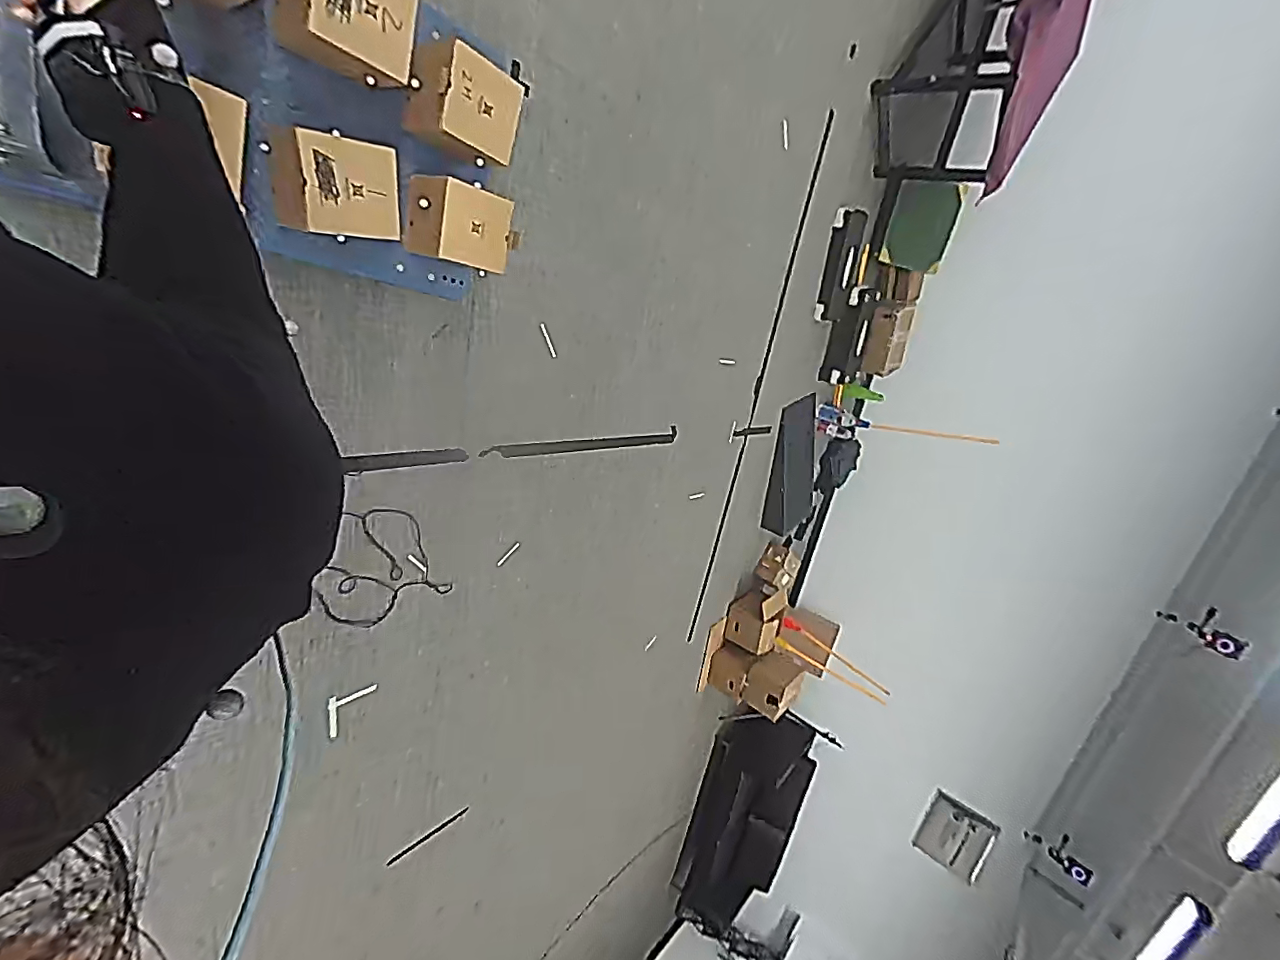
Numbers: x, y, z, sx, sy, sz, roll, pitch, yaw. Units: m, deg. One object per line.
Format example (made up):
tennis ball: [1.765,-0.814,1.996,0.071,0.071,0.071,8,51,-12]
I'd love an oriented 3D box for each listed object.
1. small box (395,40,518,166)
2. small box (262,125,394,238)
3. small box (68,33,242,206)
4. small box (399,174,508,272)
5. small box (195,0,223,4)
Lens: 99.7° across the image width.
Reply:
small box: [-0.403,-0.818,1.186,0.179,0.176,0.168,0,110,-53]
small box: [-0.610,-0.577,1.058,0.179,0.176,0.168,-21,126,-48]
small box: [-0.769,-0.555,0.856,0.179,0.176,0.168,-3,113,-54]
small box: [-0.443,-0.602,1.272,0.179,0.176,0.168,-8,116,-52]
small box: [-0.694,-0.834,0.781,0.179,0.176,0.168,-8,118,-51]
